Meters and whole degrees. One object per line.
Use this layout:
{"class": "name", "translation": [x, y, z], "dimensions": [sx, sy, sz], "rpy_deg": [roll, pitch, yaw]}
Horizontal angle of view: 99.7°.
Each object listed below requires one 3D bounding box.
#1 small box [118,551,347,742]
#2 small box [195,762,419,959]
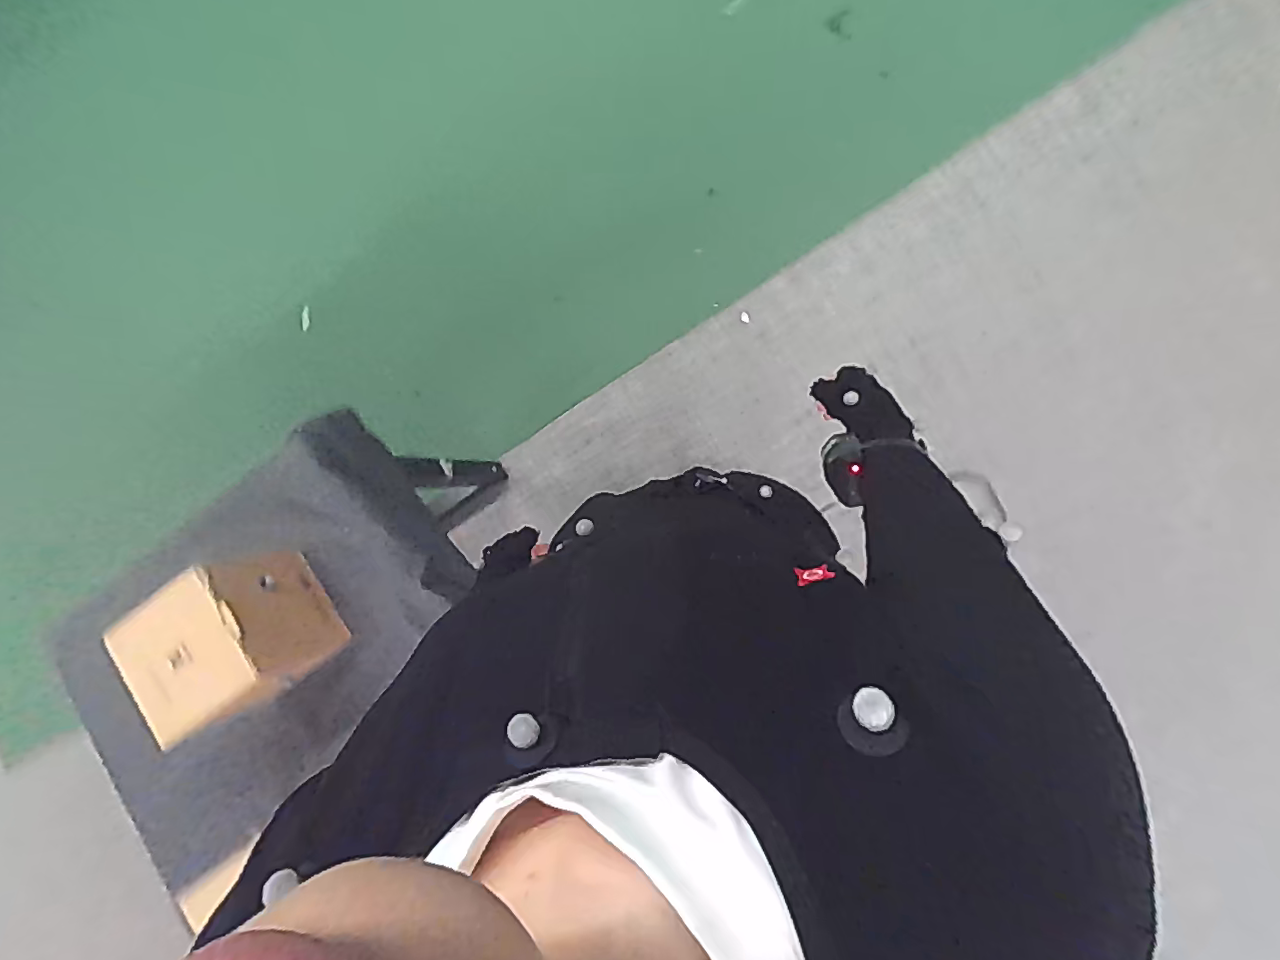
{"class": "small box", "translation": [-0.552, 0.219, 0.762], "dimensions": [0.179, 0.176, 0.168], "rpy_deg": [-36, 84, 11]}
{"class": "small box", "translation": [-0.437, 0.533, 0.744], "dimensions": [0.179, 0.176, 0.168], "rpy_deg": [-38, 84, 10]}
